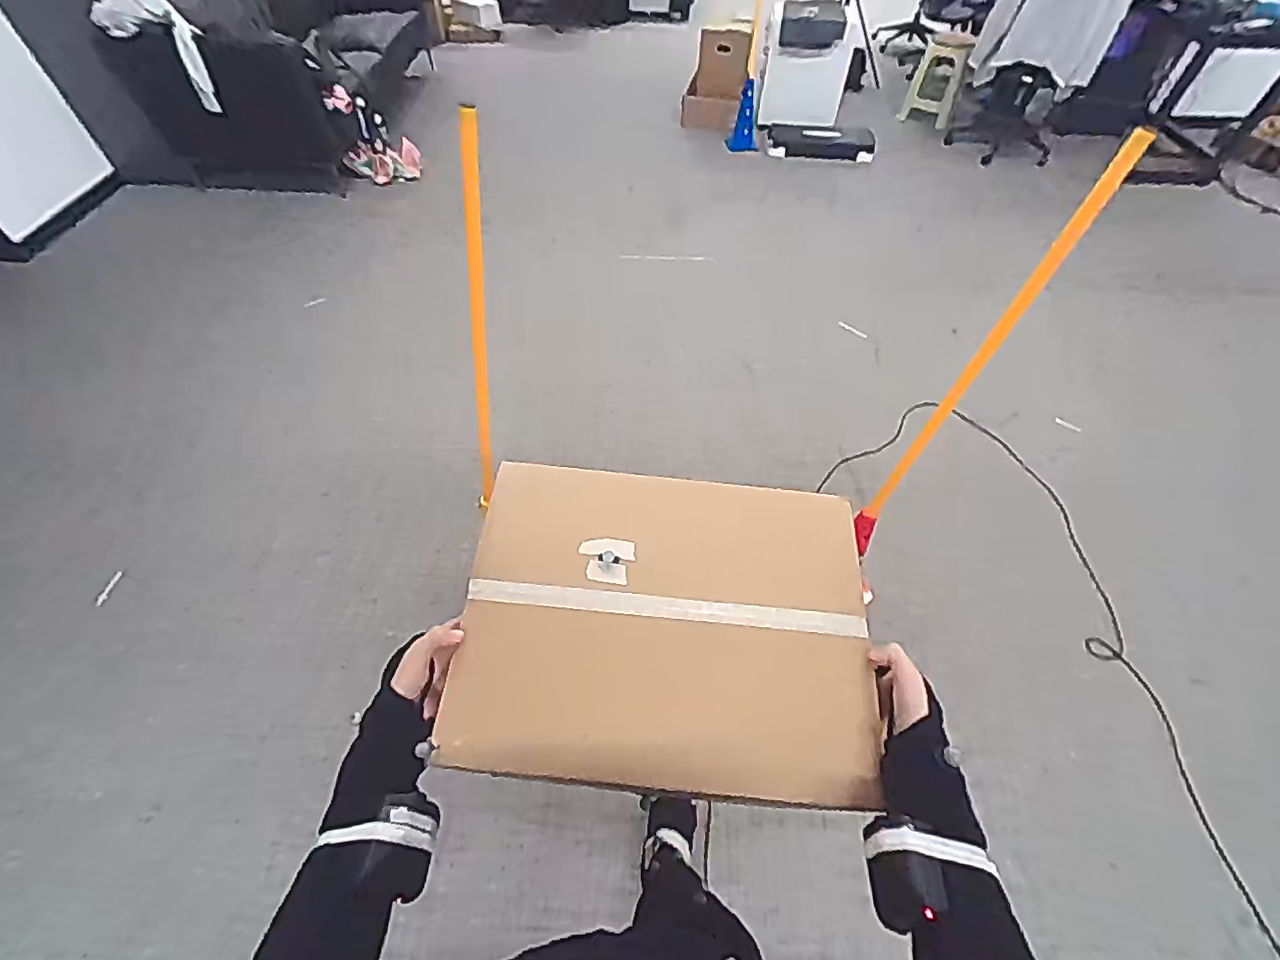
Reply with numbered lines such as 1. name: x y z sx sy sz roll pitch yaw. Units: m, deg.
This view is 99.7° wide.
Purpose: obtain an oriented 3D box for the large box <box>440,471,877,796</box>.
1. large box: 0.023 0.209 0.688 0.408 0.320 0.320 5 59 0
